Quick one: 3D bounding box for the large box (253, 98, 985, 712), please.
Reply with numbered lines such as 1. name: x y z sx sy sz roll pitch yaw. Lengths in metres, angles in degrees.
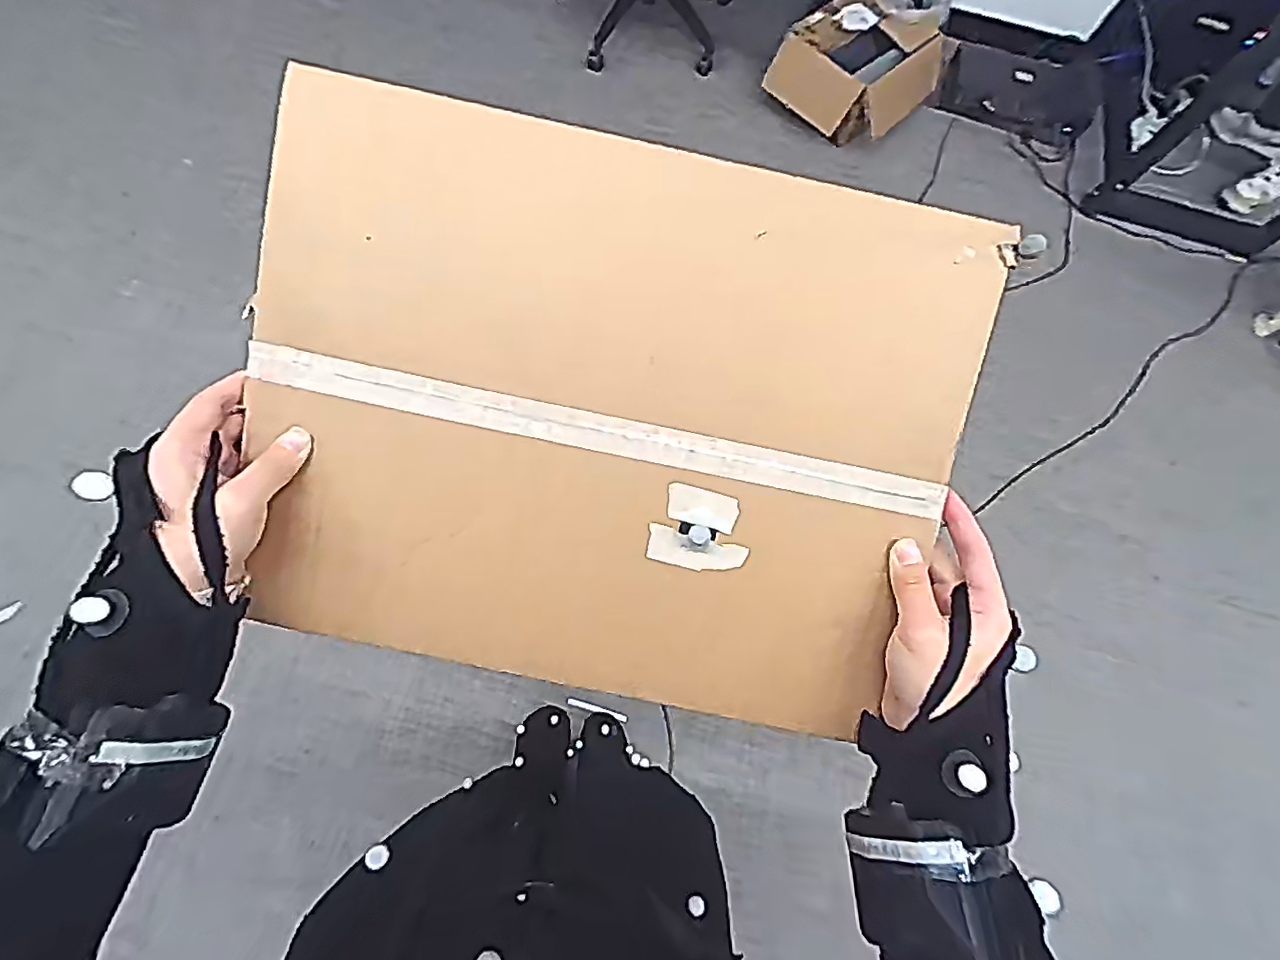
1. large box: -0.023 -0.051 0.473 0.408 0.320 0.320 11 98 -2
